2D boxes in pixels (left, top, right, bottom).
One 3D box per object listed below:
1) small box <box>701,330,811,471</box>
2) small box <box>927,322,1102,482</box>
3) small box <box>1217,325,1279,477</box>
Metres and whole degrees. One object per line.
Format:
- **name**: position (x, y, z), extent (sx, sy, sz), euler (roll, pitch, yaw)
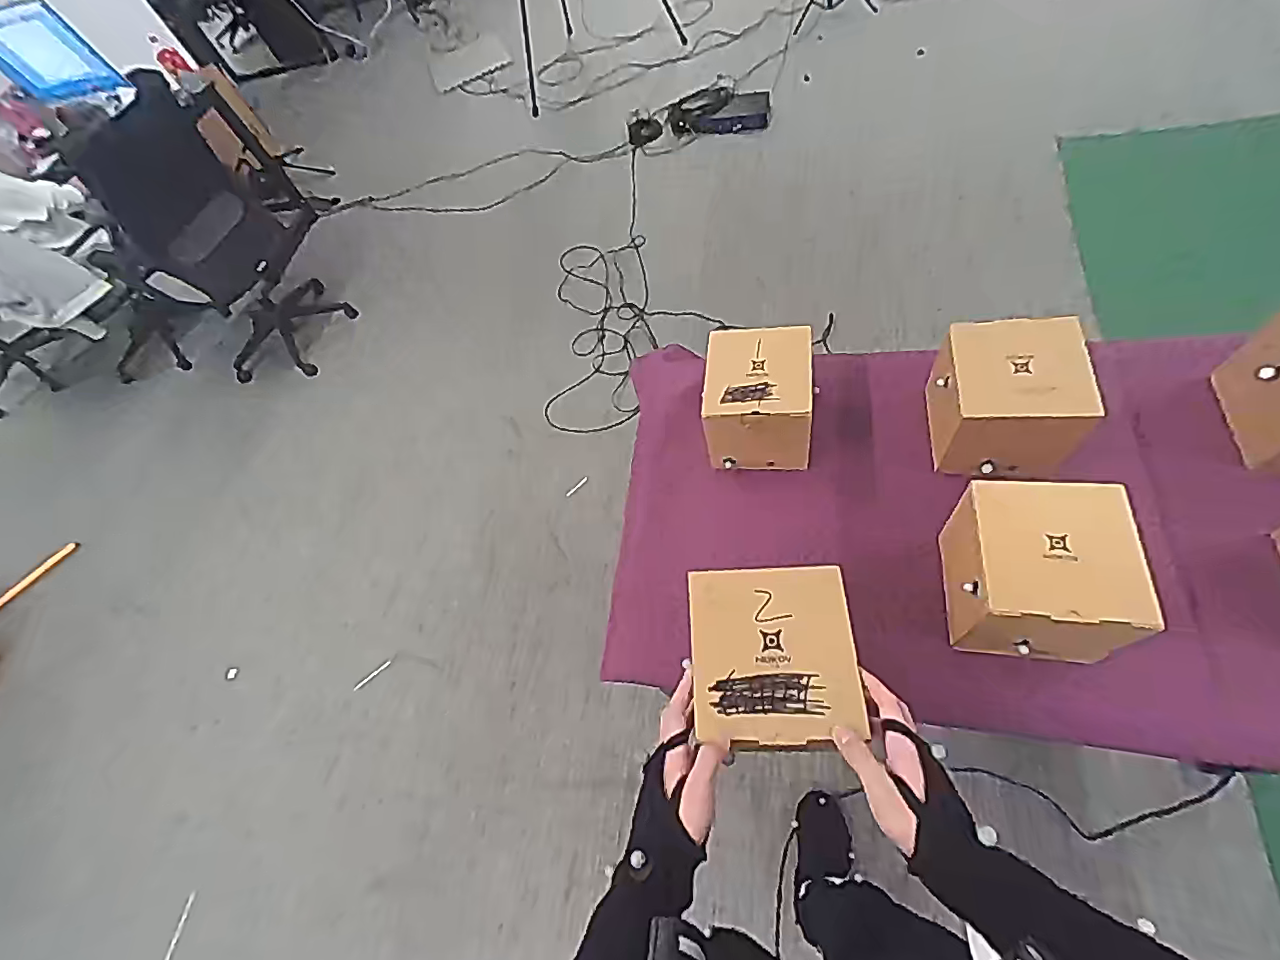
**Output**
- **small box**: position (0.203, -0.128, 0.917), extent (0.168, 0.176, 0.179), euler (1, 61, 15)
- **small box**: position (0.547, -0.115, 0.820), extent (0.168, 0.176, 0.179), euler (2, 62, 17)
- **small box**: position (0.935, -0.117, 0.714), extent (0.168, 0.176, 0.179), euler (1, 62, 16)
